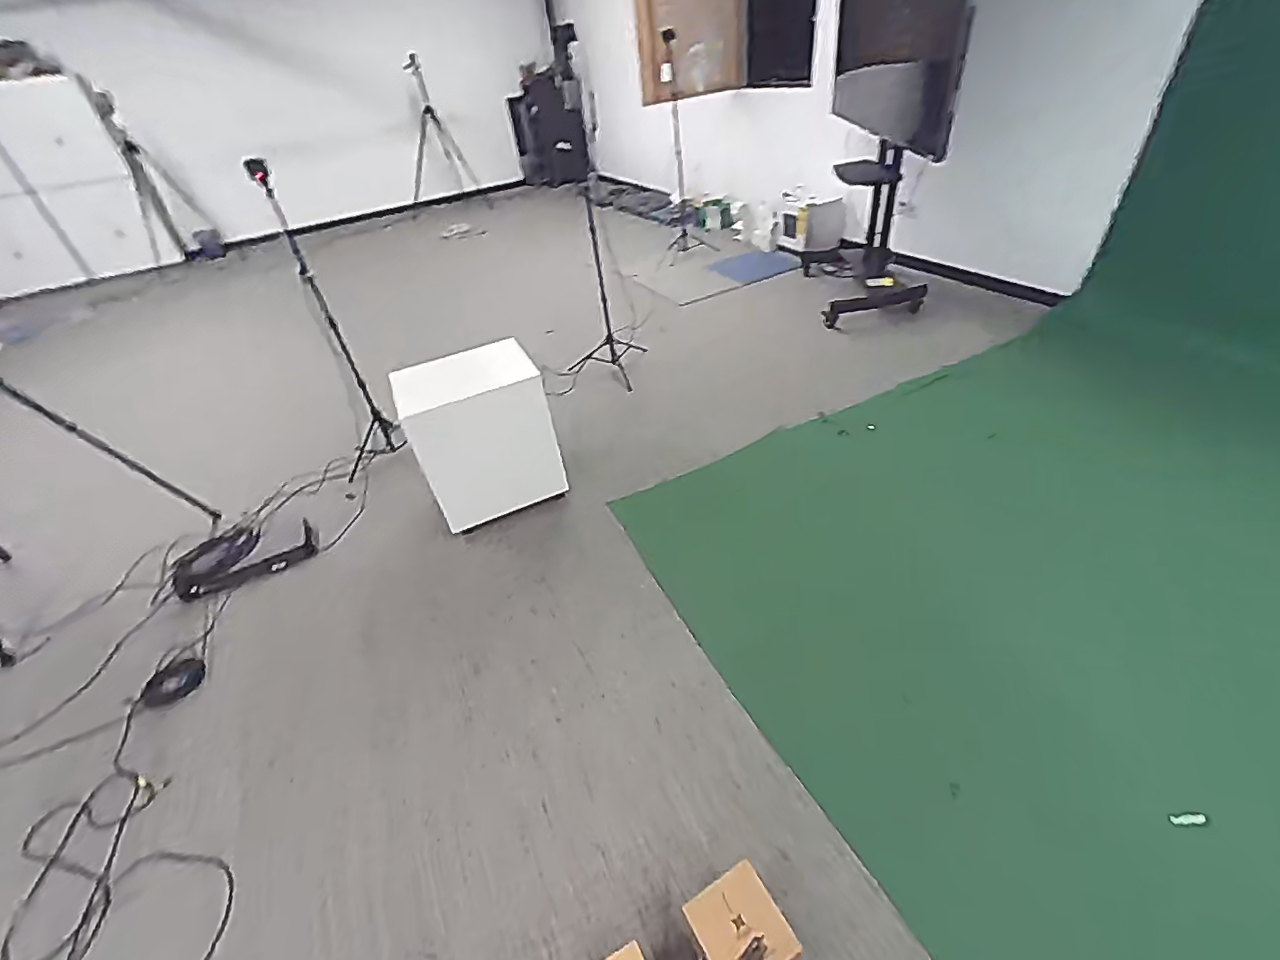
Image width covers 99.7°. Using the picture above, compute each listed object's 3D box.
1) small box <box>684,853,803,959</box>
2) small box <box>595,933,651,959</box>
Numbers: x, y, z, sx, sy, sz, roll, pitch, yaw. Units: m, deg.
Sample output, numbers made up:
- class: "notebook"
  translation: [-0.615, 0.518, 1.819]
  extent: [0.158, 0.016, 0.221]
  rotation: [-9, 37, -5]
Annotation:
- class: "small box"
  translation: [0.208, 0.918, 1.101]
  extent: [0.168, 0.176, 0.179]
  rotation: [-24, 42, -19]
- class: "small box"
  translation: [-0.029, 1.018, 1.021]
  extent: [0.168, 0.176, 0.179]
  rotation: [-22, 42, -17]
